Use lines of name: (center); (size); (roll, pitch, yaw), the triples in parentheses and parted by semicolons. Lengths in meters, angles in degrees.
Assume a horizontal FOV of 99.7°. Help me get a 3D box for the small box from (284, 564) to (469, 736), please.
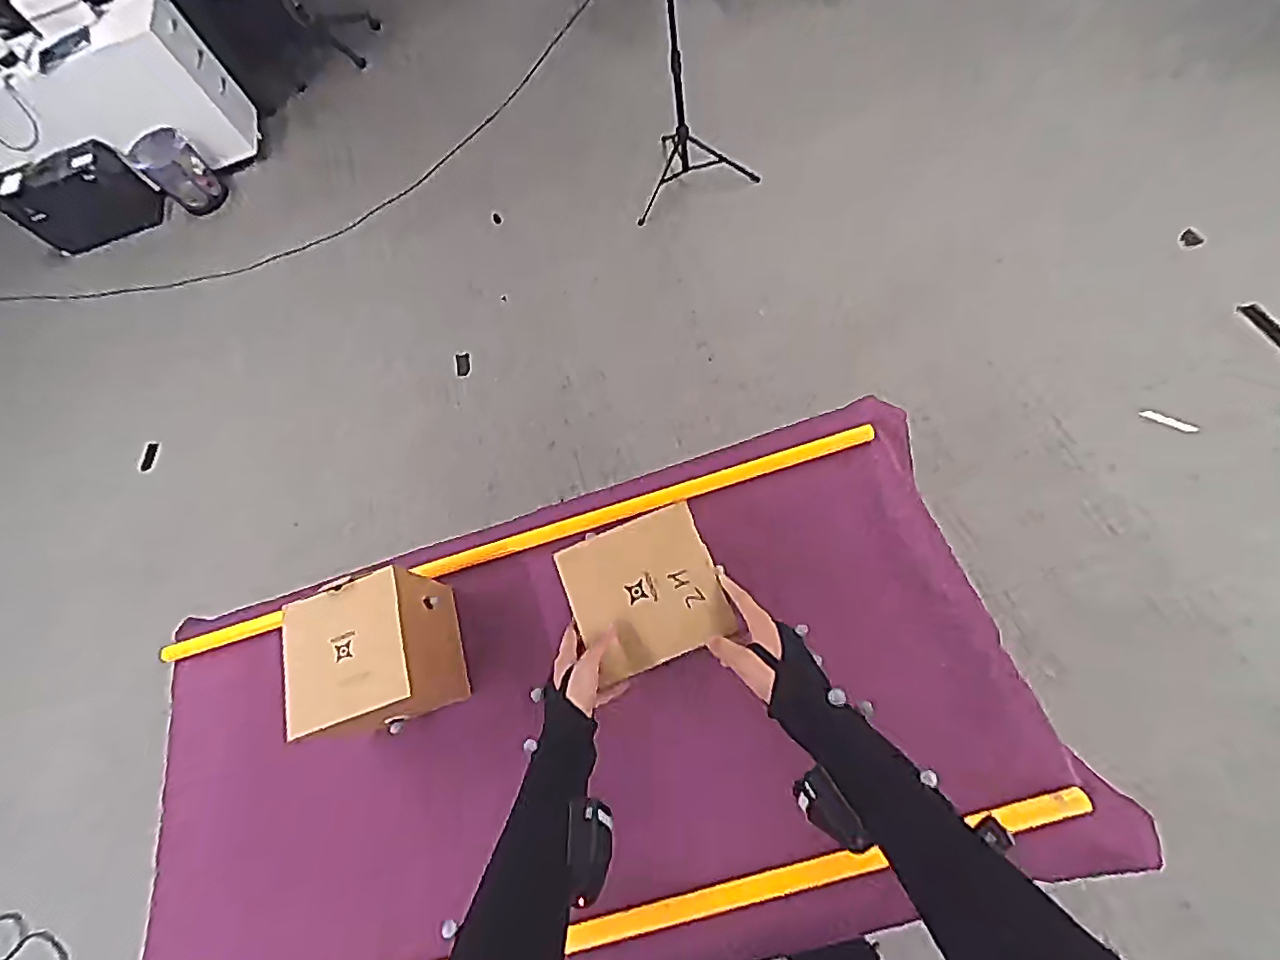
small box: (-0.364, 0.243, 0.763); (0.168, 0.176, 0.179); (-21, 66, 2)

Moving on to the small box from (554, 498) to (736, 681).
small box: (0.012, 0.147, 0.703); (0.179, 0.176, 0.168); (-23, 72, 0)
